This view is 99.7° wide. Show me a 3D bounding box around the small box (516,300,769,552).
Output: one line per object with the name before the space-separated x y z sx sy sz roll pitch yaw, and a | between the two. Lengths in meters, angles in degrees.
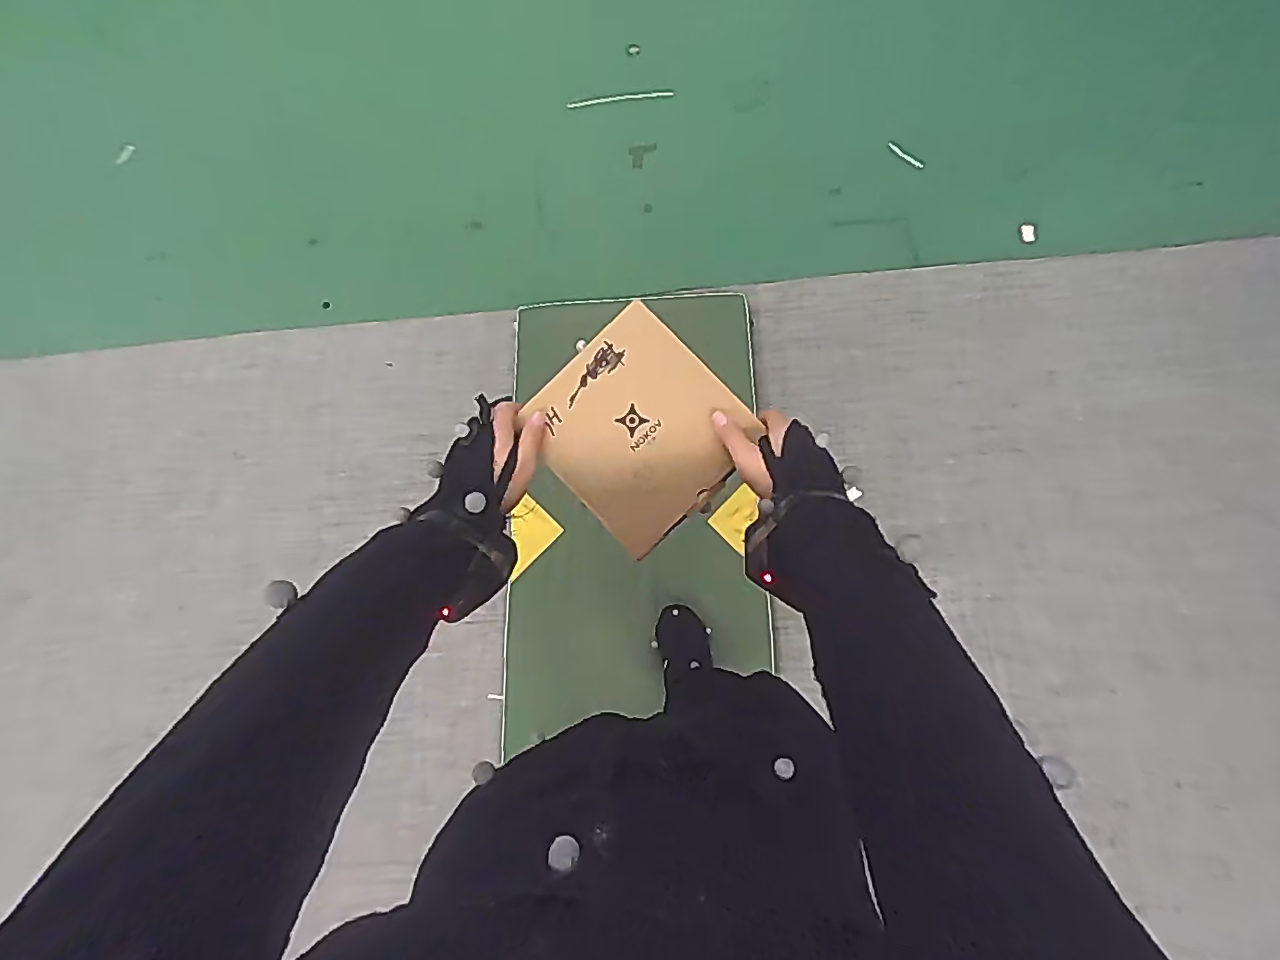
small box | 0.005 -0.049 0.573 0.168 0.176 0.179 -44 87 0
